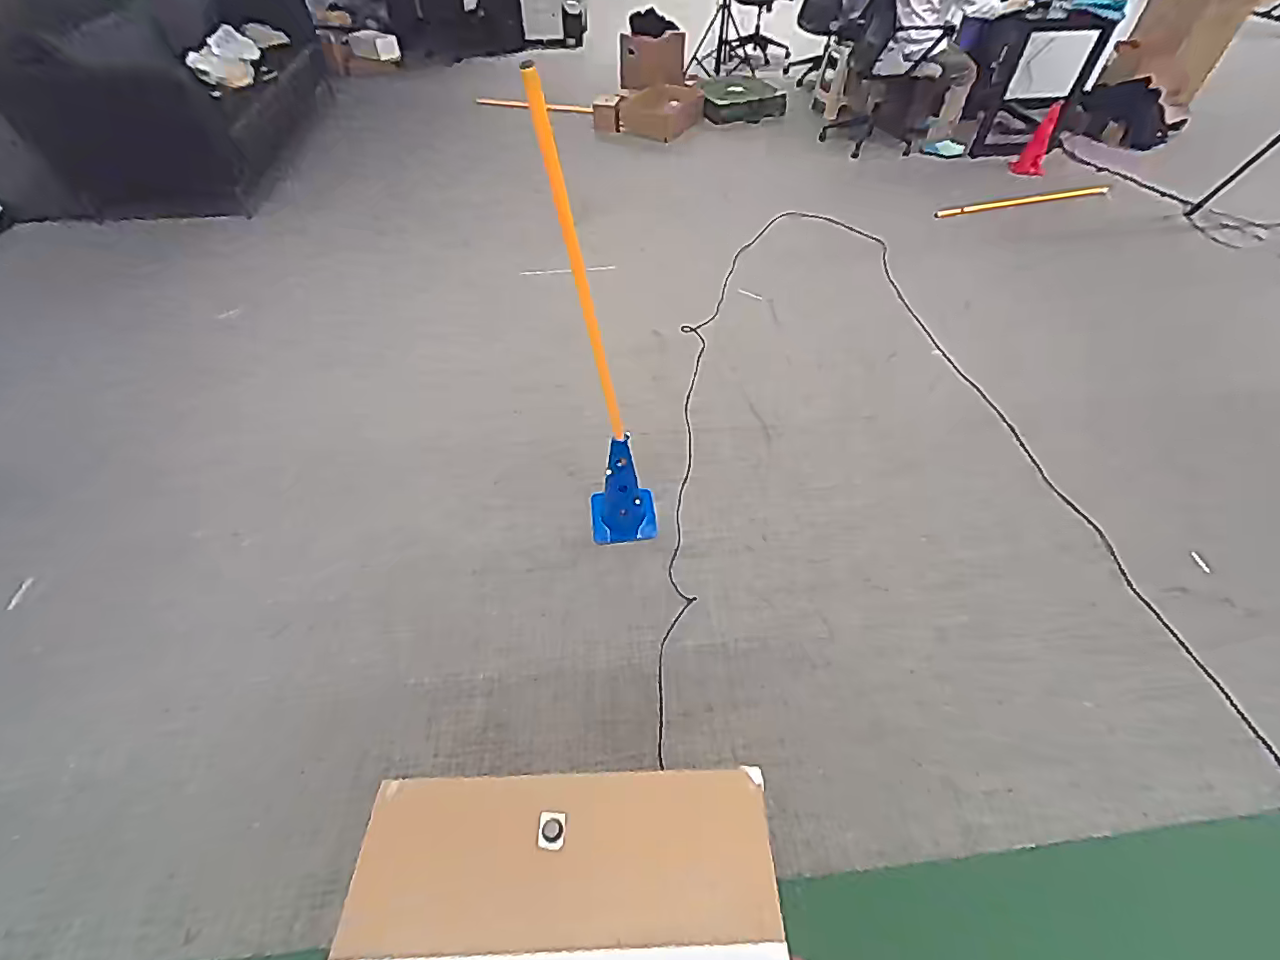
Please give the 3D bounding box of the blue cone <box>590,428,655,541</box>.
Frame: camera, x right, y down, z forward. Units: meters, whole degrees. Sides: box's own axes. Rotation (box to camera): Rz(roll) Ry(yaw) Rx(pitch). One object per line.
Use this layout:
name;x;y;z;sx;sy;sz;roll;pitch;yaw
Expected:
blue cone;-0.059;0.002;1.580;0.193;0.380;0.192;-8;50;-5
